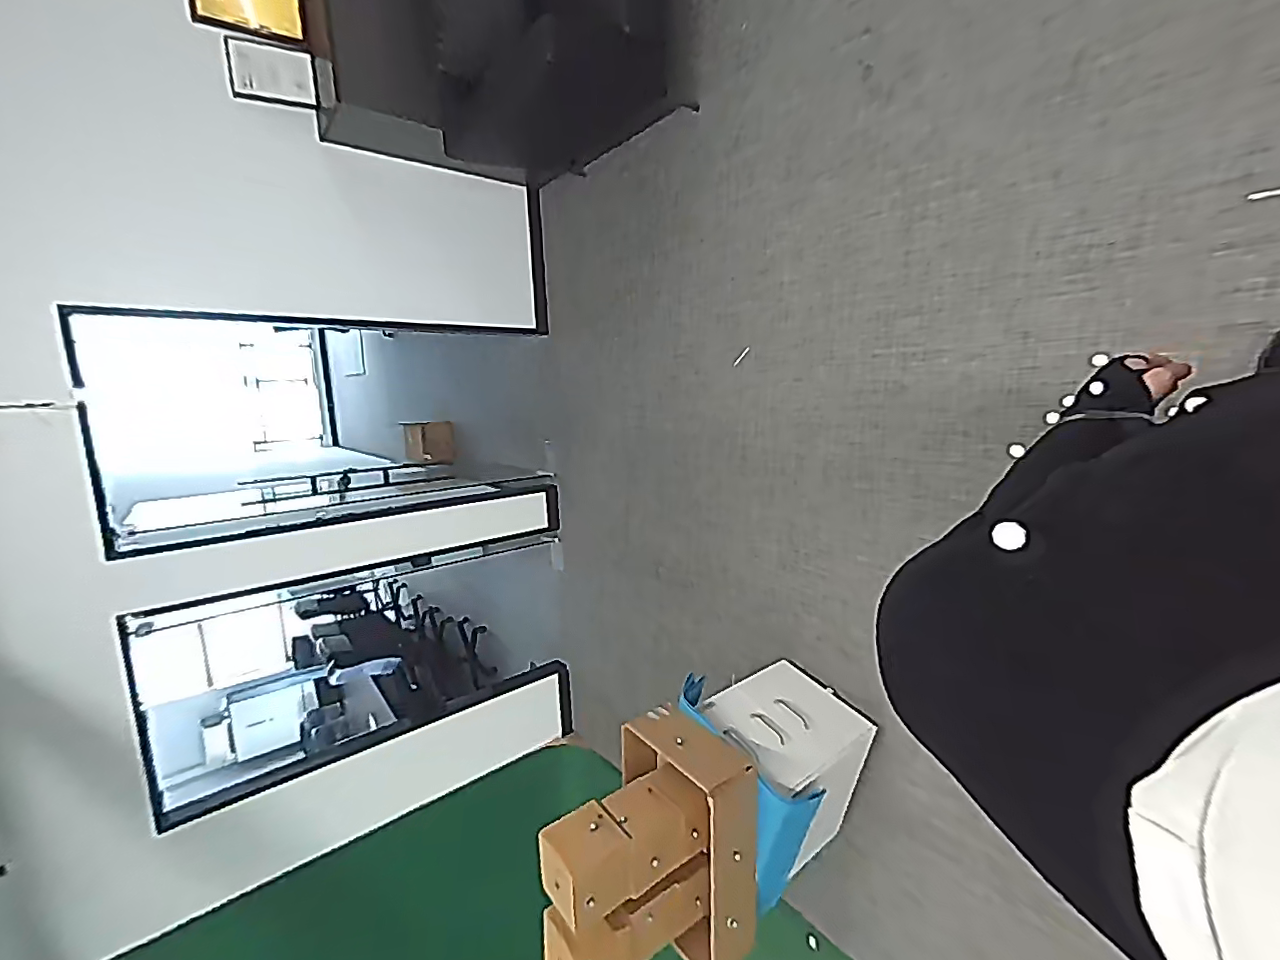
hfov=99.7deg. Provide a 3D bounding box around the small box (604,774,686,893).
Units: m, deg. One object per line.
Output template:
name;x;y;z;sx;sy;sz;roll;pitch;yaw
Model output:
small box;0.012;0.949;1.469;0.168;0.176;0.179;10;107;51

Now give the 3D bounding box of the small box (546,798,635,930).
small box;-0.122;0.965;1.374;0.168;0.176;0.179;13;108;51
